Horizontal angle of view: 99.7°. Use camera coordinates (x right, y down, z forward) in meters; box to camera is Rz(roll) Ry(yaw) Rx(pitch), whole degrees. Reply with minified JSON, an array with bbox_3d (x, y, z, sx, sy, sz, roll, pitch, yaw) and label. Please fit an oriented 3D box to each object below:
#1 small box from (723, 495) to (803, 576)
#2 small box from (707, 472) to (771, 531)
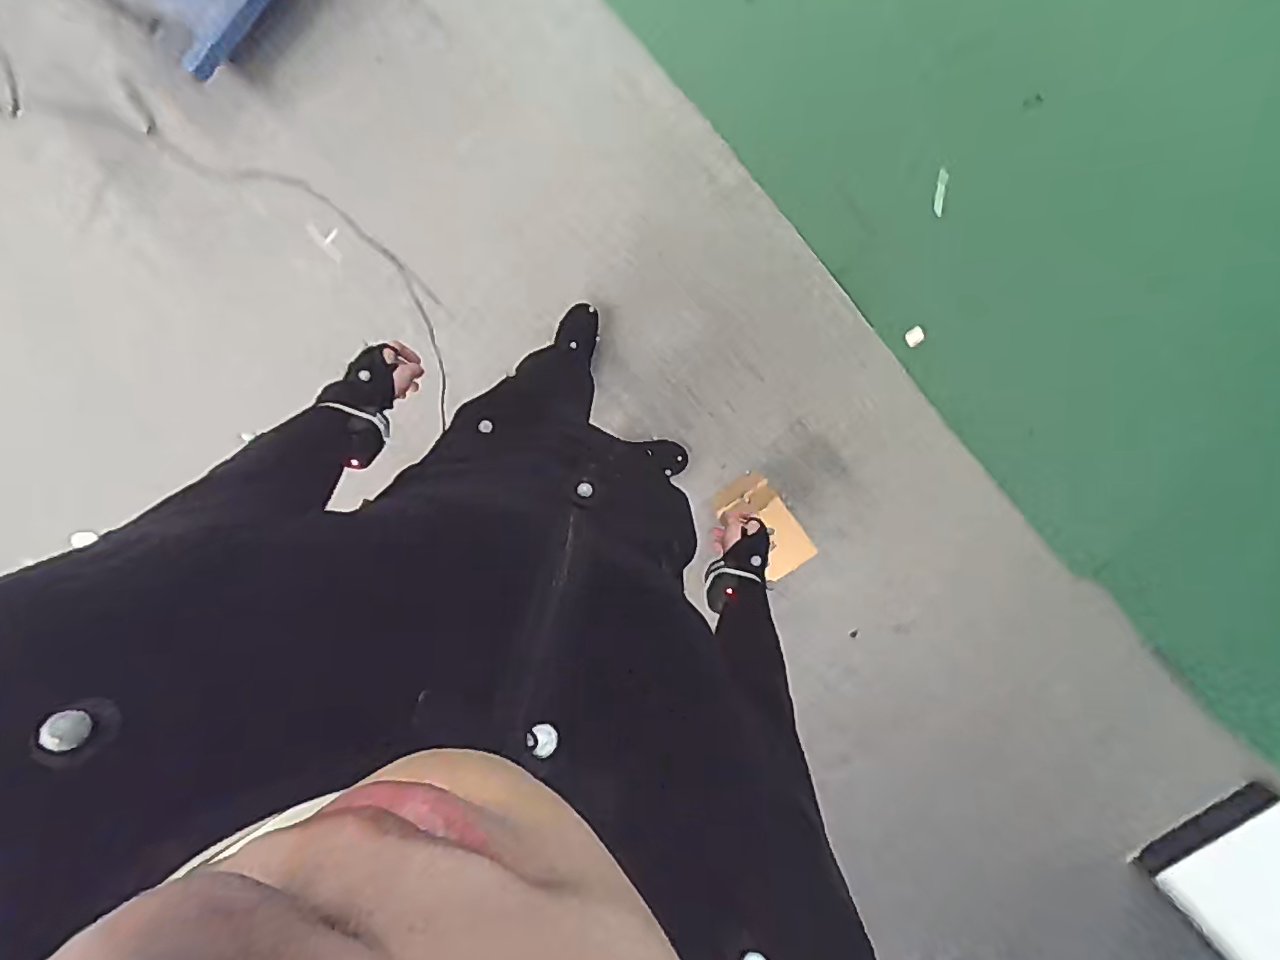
[{"bbox_3d":[0.313,0.138,1.405,0.179,0.176,0.168,-5,99,3],"label":"small box"},{"bbox_3d":[0.308,0.093,1.554,0.168,0.176,0.179,-35,99,9],"label":"small box"}]
